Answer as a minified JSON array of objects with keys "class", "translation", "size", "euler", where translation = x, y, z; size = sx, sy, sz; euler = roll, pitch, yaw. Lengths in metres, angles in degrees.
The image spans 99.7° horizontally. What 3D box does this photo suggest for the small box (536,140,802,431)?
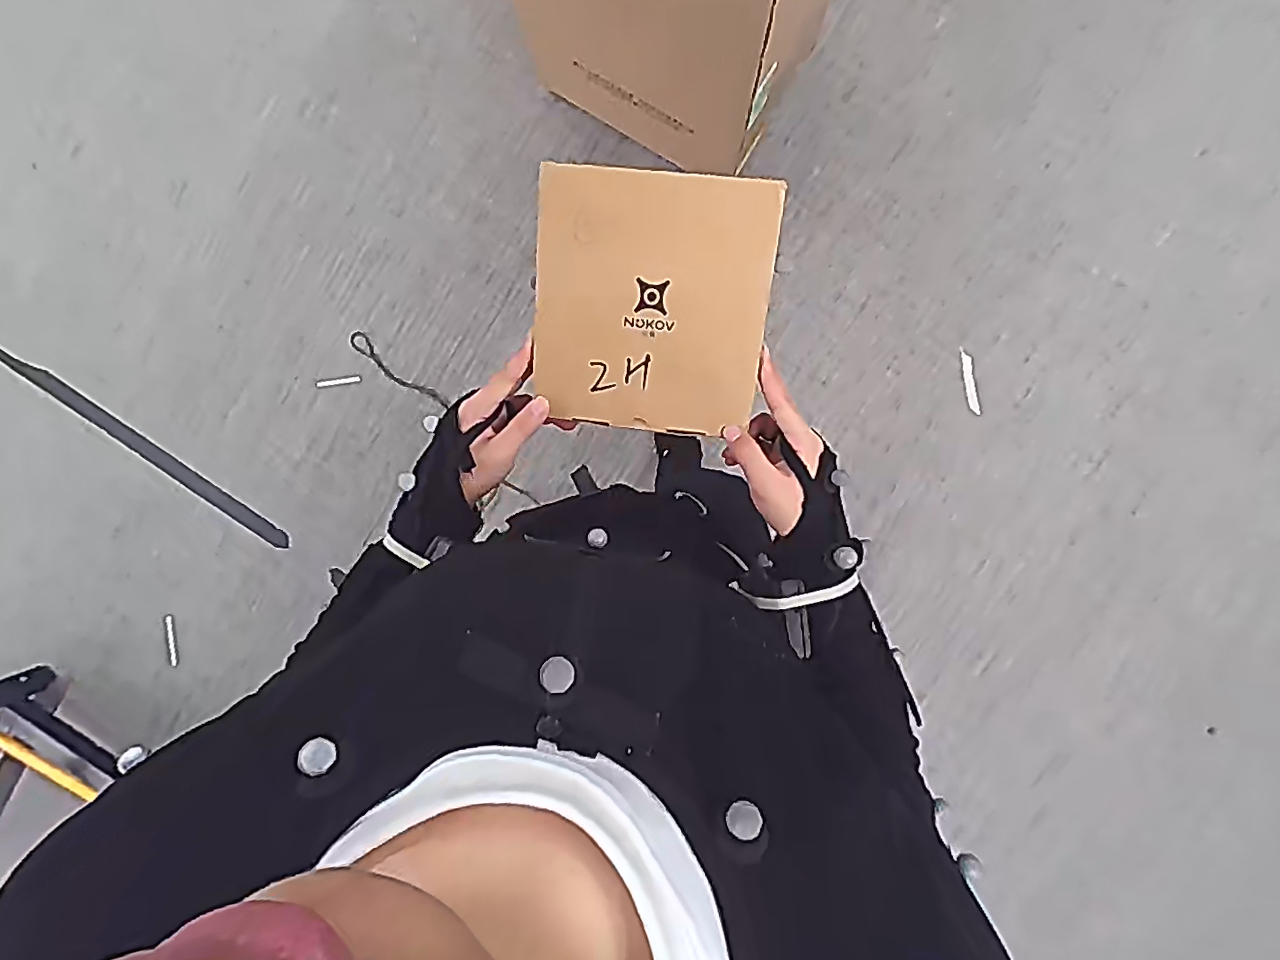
[{"class":"small box","translation":[0.021,-0.150,0.447],"size":[0.168,0.176,0.179],"euler":[8,107,4]}]
